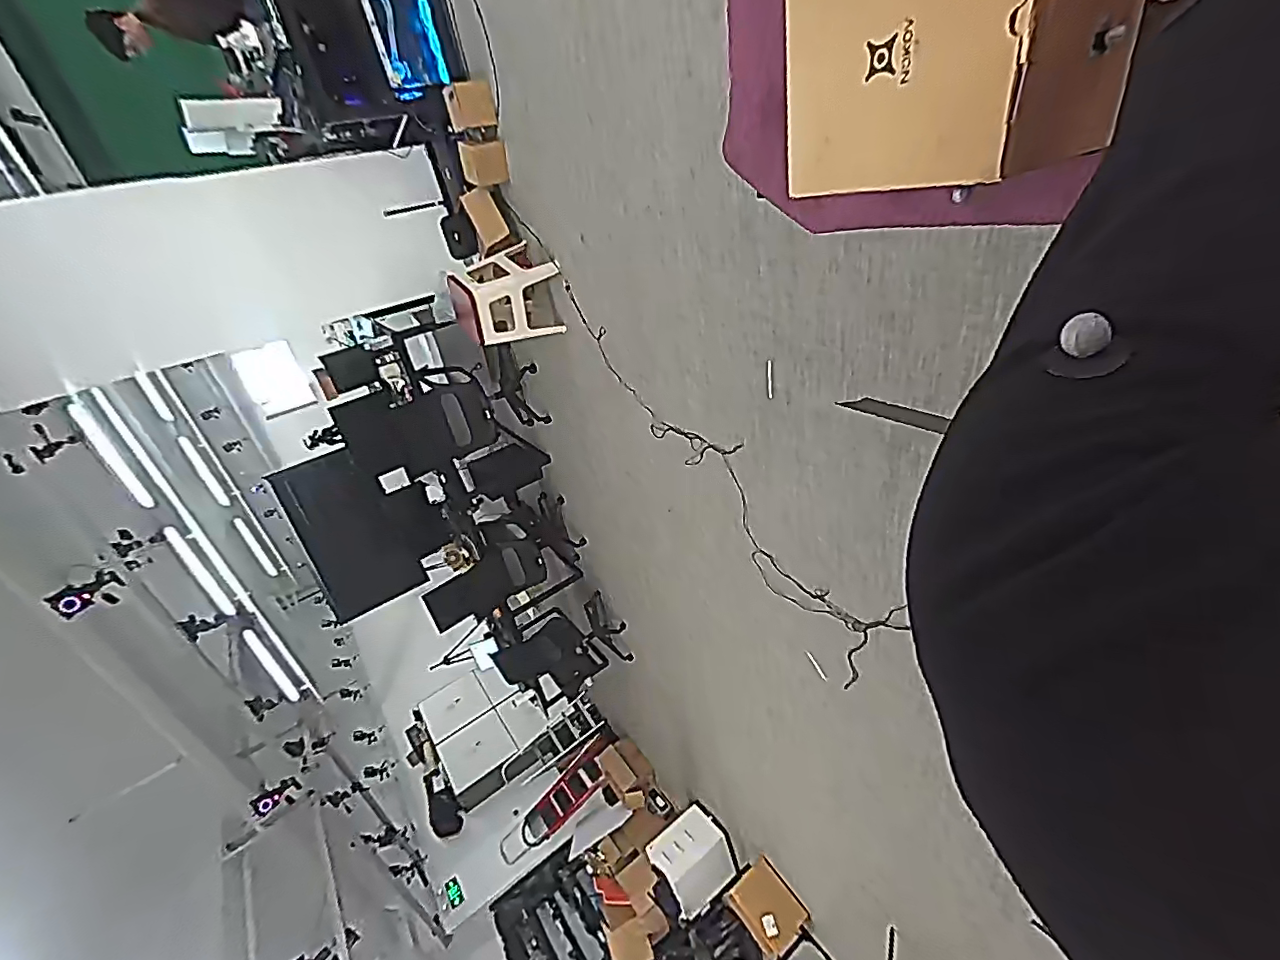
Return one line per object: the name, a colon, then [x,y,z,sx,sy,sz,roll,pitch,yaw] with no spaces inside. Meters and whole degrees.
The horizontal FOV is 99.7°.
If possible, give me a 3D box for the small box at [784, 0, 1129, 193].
small box: [0.234,-0.329,0.416,0.179,0.176,0.168,28,137,49]
